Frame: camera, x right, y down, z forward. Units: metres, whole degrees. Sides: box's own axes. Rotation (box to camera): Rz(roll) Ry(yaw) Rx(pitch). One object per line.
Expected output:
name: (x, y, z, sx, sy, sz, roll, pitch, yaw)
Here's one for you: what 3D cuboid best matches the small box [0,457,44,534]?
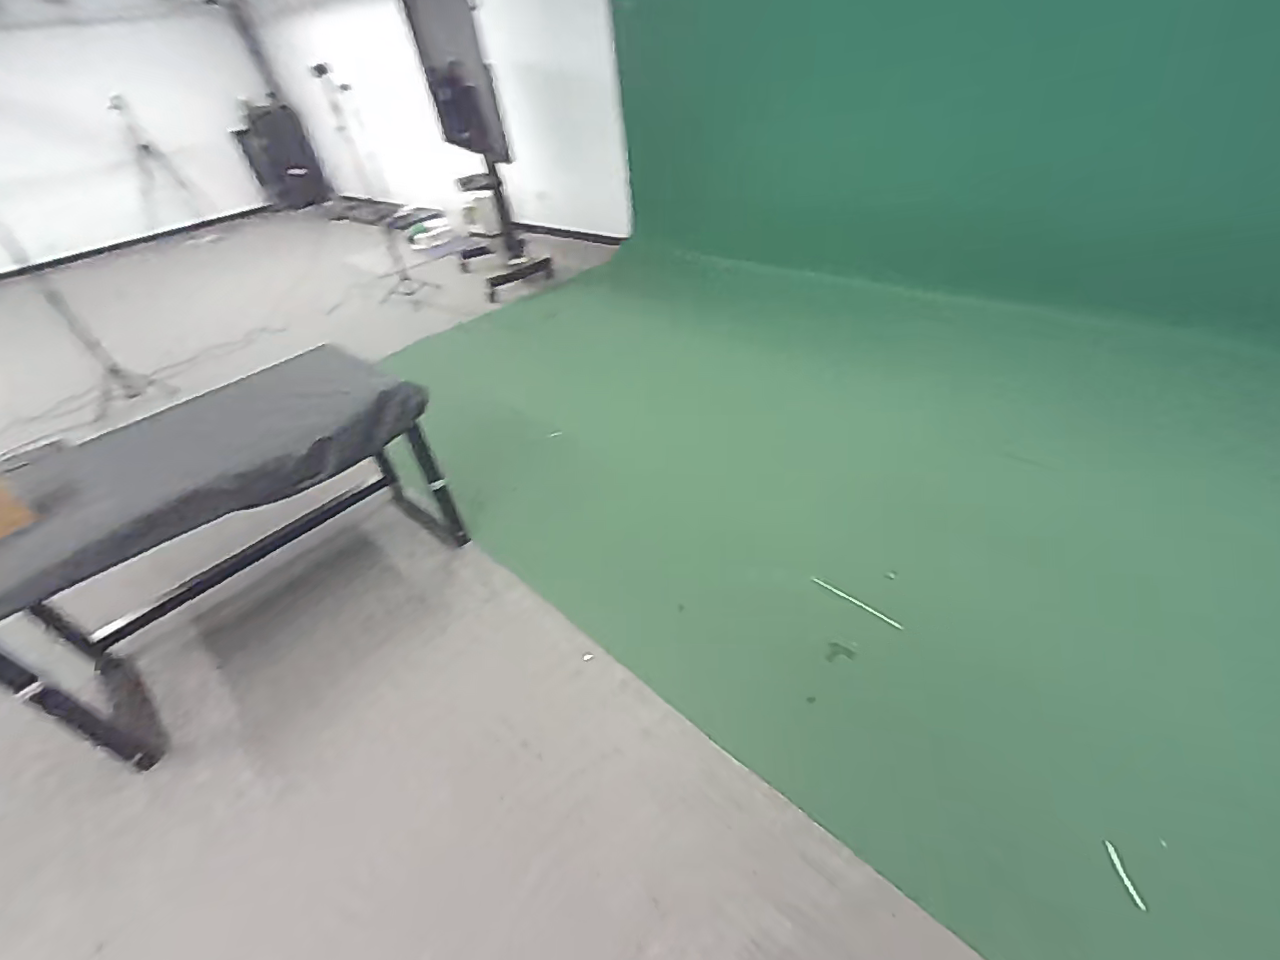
small box: (-1.634, 0.046, 1.319, 0.168, 0.176, 0.179, 25, 48, 34)
